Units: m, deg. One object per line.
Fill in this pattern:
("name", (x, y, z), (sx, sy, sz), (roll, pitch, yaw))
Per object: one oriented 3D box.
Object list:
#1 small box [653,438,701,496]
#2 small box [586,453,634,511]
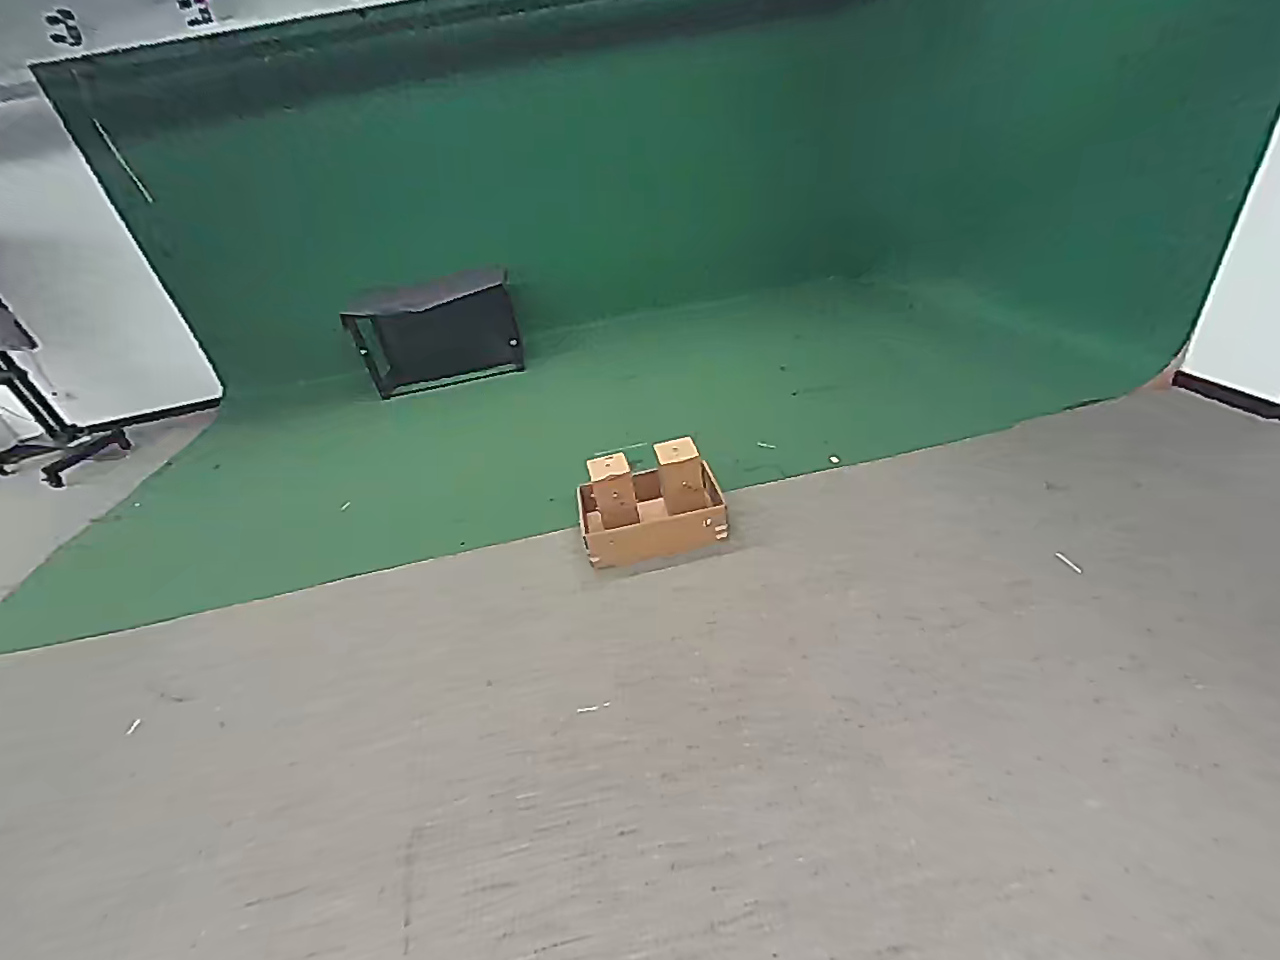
("small box", (0.160, -0.054, 2.335), (0.168, 0.176, 0.179), (-13, 35, -3))
("small box", (-0.128, 0.015, 2.311), (0.168, 0.176, 0.179), (-14, 34, -5))
